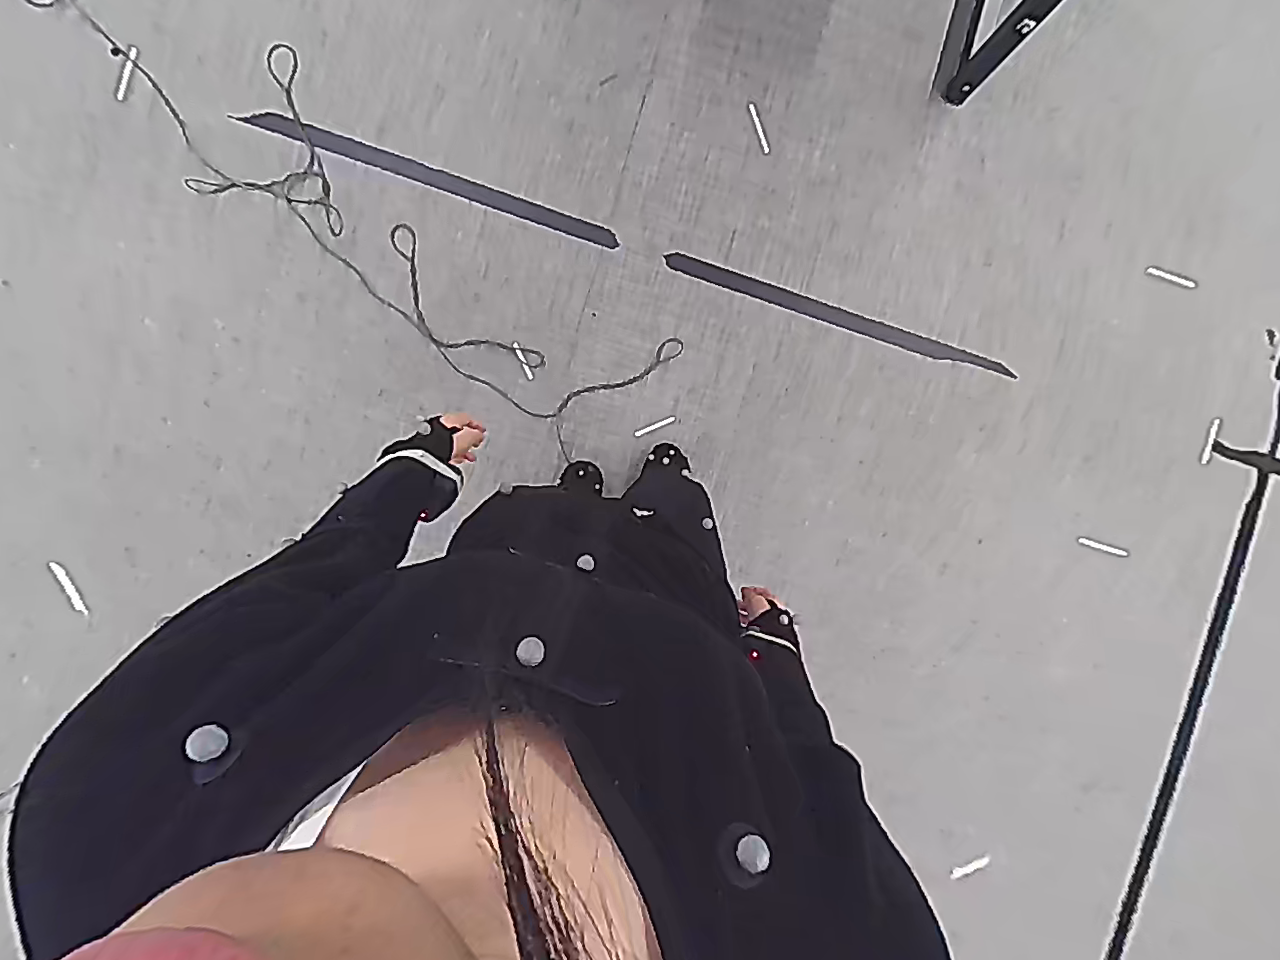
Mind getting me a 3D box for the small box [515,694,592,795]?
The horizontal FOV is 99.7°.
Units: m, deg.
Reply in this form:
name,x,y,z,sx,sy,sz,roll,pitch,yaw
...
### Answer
name,x,y,z,sx,sy,sz,roll,pitch,yaw
small box,-0.218,0.673,1.394,0.168,0.176,0.179,8,91,-5
